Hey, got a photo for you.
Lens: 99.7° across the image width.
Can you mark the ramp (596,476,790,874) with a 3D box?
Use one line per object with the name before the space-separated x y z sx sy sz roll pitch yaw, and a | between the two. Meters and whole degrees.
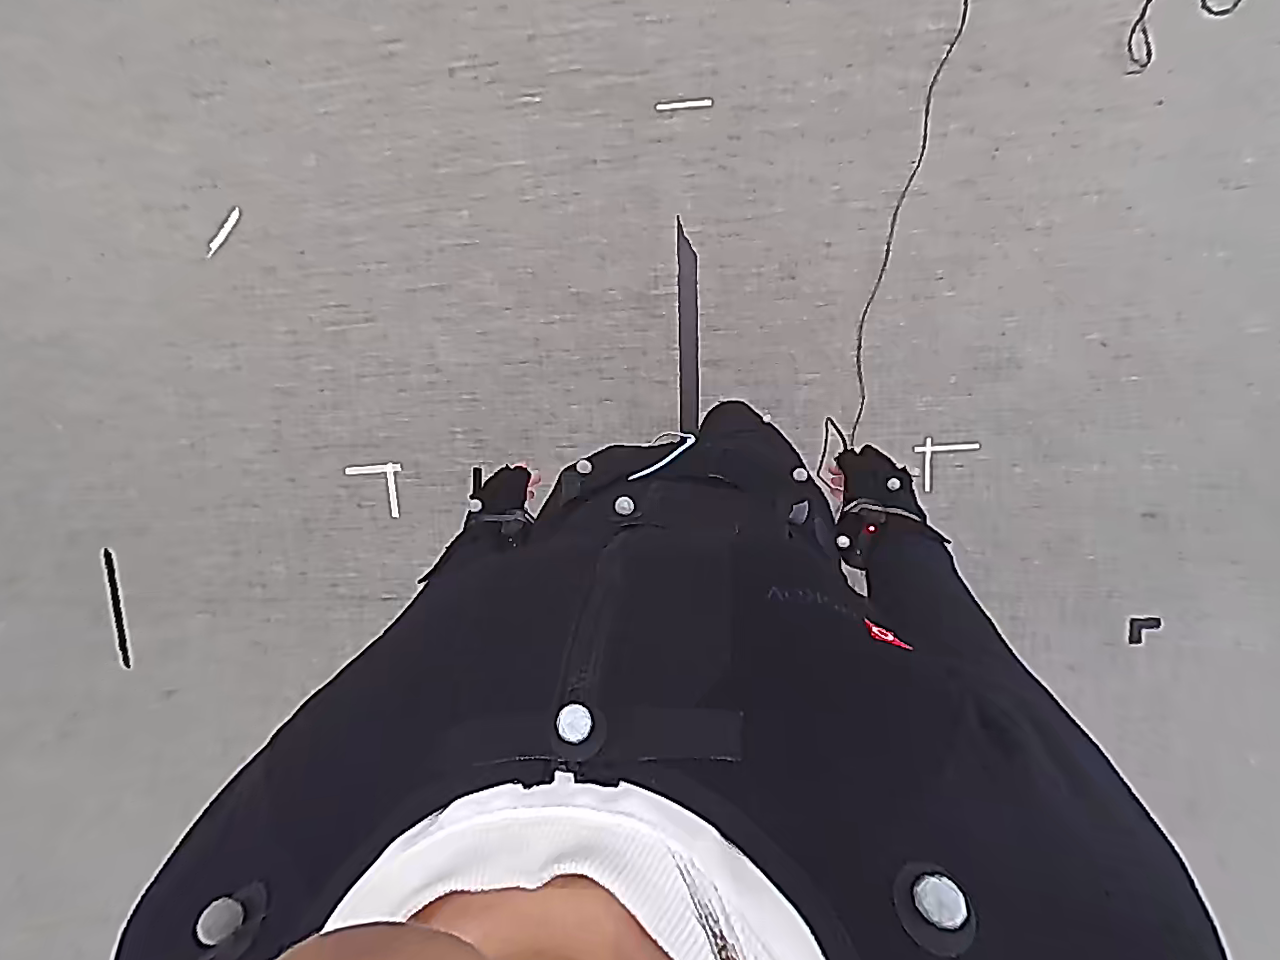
ramp | 0.137 0.489 1.421 0.509 0.206 0.991 0 96 8
